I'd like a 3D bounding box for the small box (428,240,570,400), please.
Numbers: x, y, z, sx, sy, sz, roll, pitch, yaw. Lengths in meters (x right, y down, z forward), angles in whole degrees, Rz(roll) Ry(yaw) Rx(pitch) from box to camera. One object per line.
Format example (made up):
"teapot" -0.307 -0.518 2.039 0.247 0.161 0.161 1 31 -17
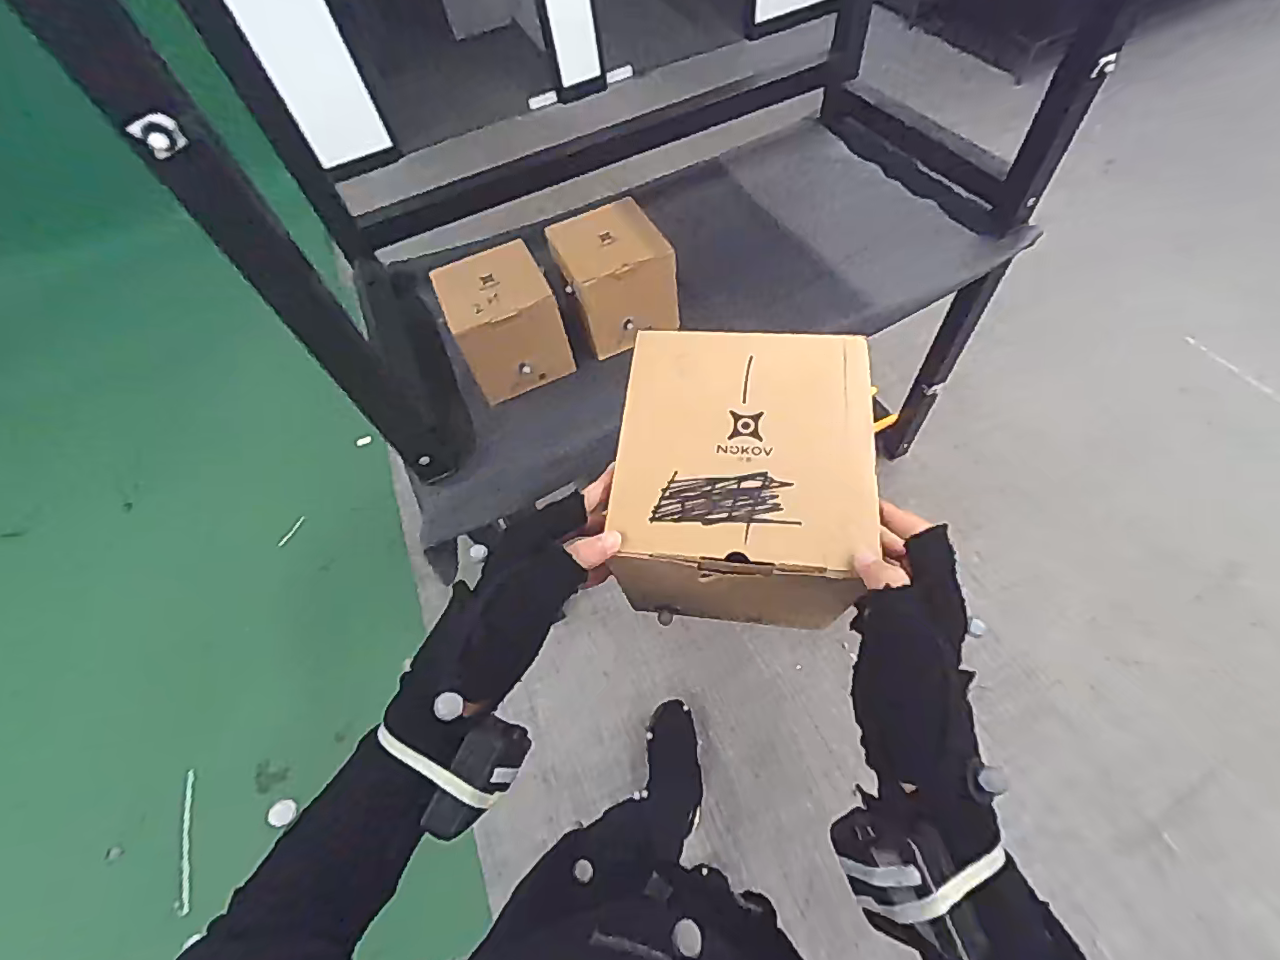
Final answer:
"small box" -0.236 -0.270 0.929 0.168 0.176 0.179 -24 58 -8
